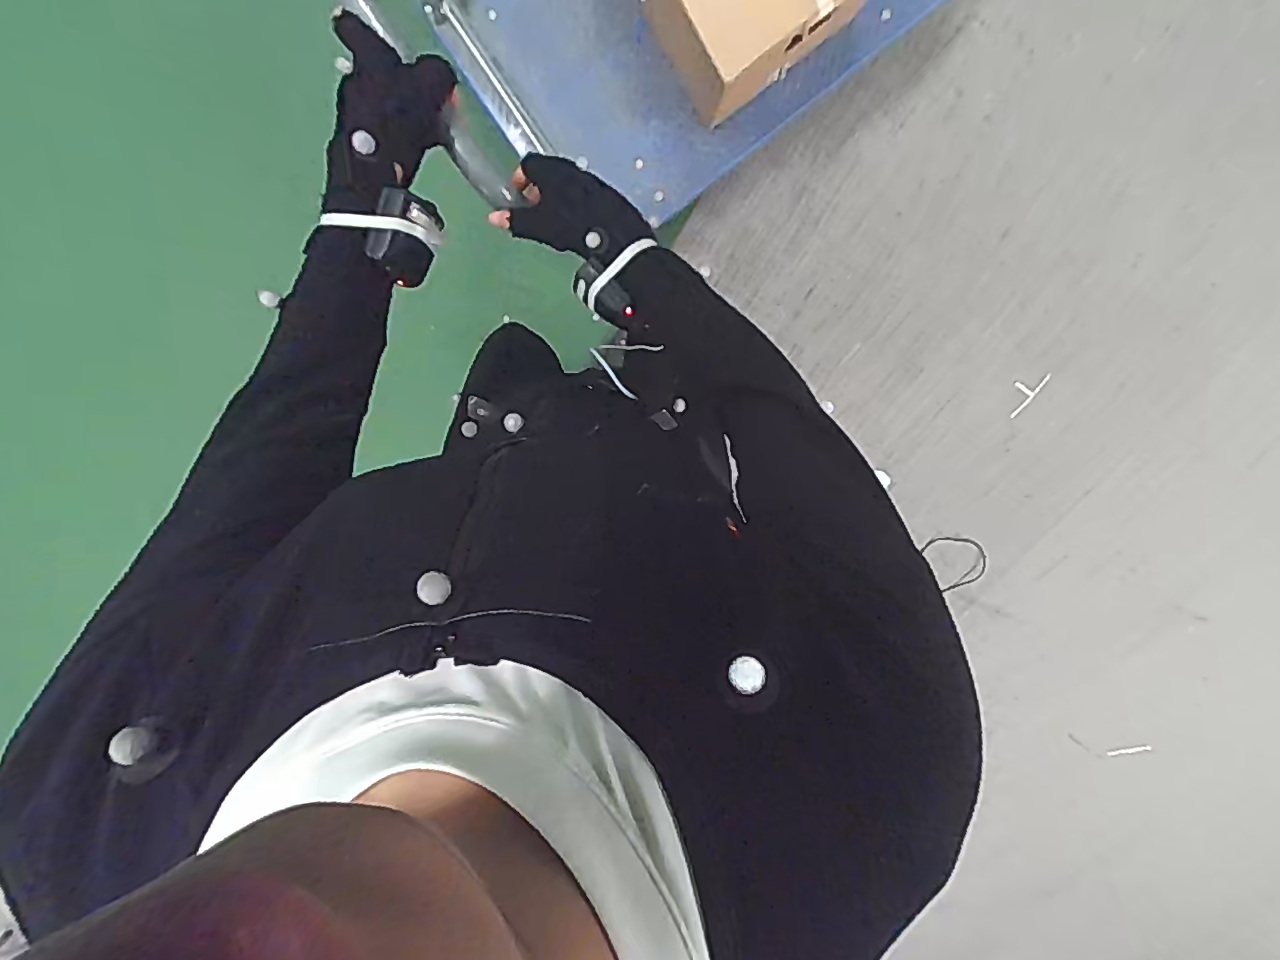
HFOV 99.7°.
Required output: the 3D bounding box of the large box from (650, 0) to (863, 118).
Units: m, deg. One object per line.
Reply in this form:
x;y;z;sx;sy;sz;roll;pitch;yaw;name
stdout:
0.152;-0.867;0.815;0.320;0.320;0.408;-32;107;14;large box
